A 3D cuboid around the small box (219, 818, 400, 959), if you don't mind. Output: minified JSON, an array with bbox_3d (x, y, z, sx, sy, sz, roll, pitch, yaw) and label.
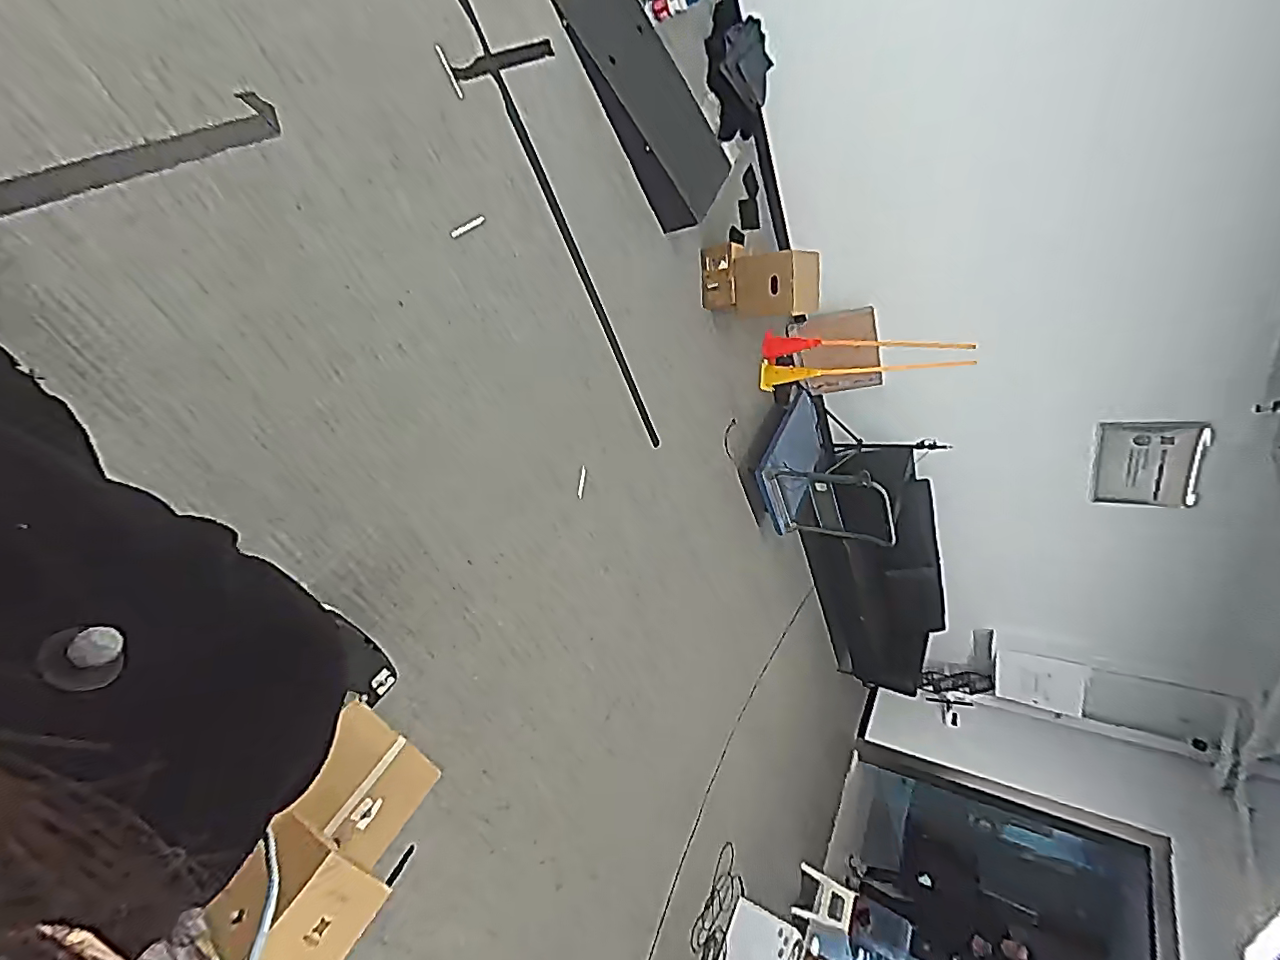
[{"bbox_3d":[-0.546,0.707,0.890,0.179,0.176,0.168,-52,130,-38],"label":"small box"}]

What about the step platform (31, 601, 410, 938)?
[{"bbox_3d":[-0.882,0.607,1.240,0.684,0.204,0.286,-48,128,-41],"label":"step platform"}]

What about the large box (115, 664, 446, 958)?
[{"bbox_3d":[-0.698,0.656,1.093,0.408,0.320,0.320,-53,132,-37],"label":"large box"}]
